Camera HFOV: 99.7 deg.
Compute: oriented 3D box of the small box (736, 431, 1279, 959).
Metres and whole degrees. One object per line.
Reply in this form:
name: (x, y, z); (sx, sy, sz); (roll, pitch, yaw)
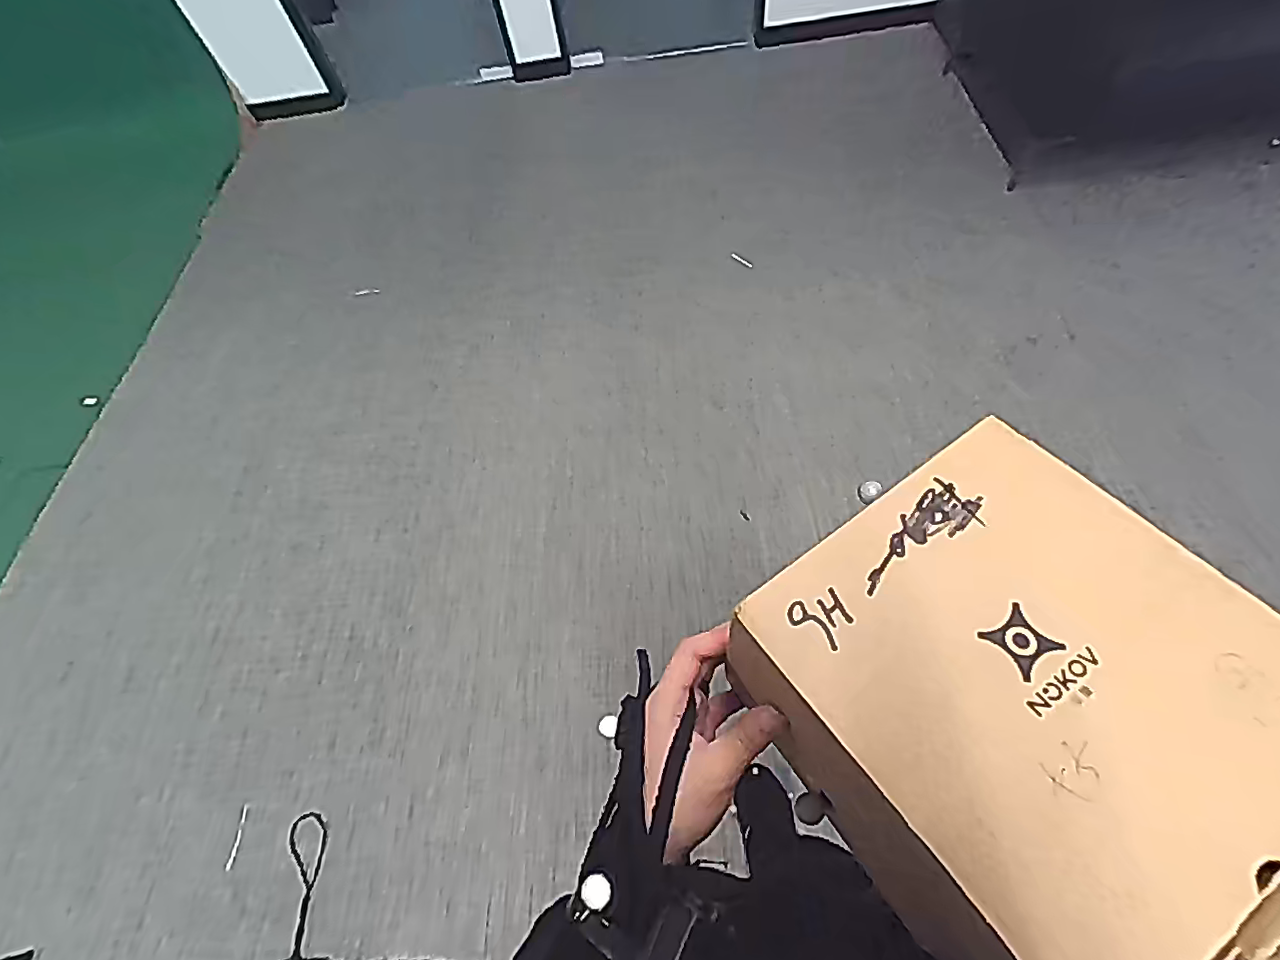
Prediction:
small box: (0.167, 0.114, 0.283); (0.168, 0.176, 0.179); (-31, 62, -10)
